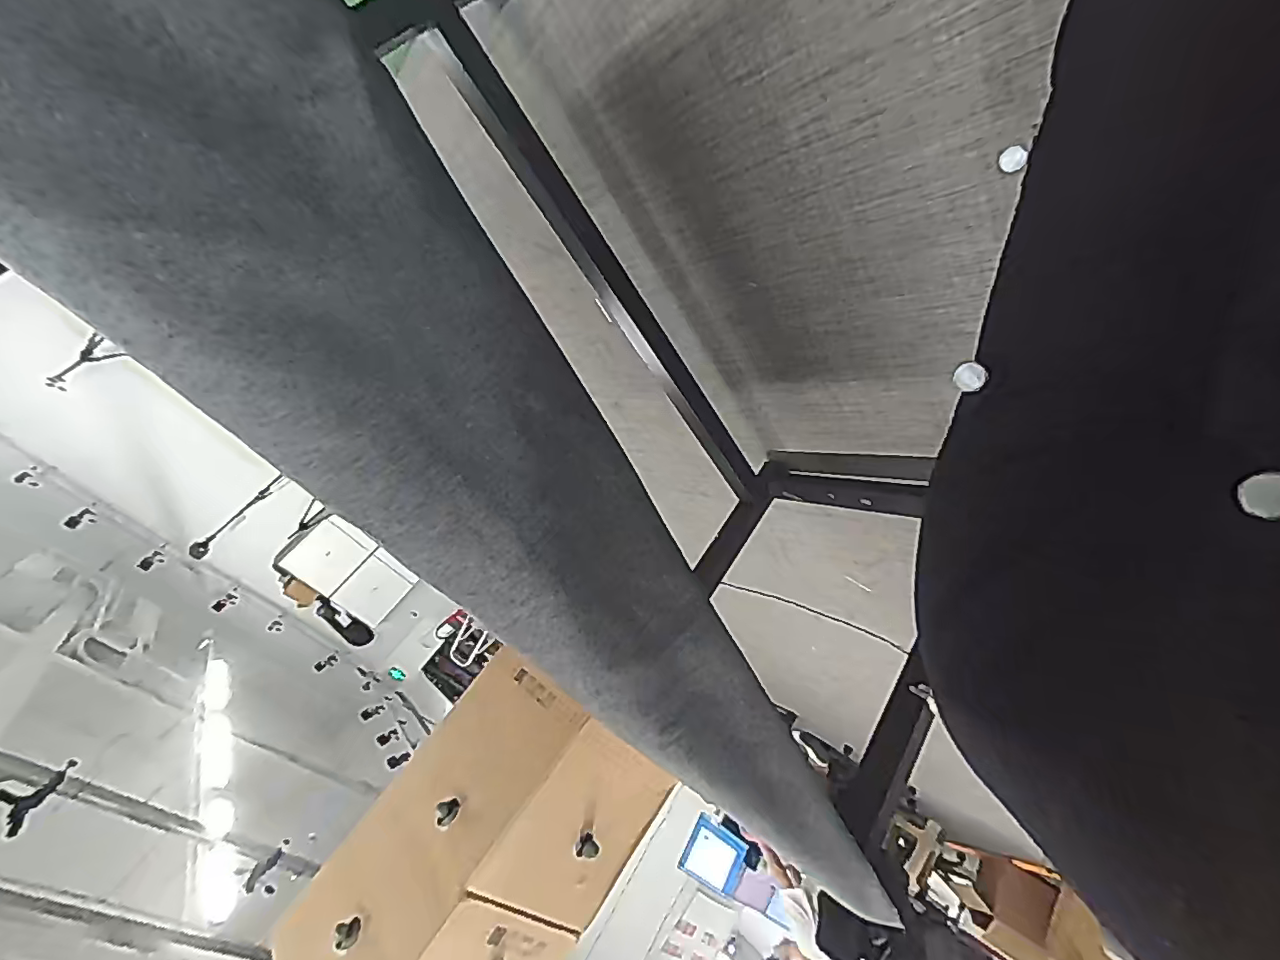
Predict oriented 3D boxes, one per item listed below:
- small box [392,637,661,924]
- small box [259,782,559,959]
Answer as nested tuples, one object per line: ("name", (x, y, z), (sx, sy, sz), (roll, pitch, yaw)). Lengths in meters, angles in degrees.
("small box", (-0.108, 0.296, 0.557), (0.168, 0.176, 0.179), (13, 147, 49))
("small box", (-0.208, 0.417, 0.505), (0.179, 0.176, 0.168), (12, 146, 49))
